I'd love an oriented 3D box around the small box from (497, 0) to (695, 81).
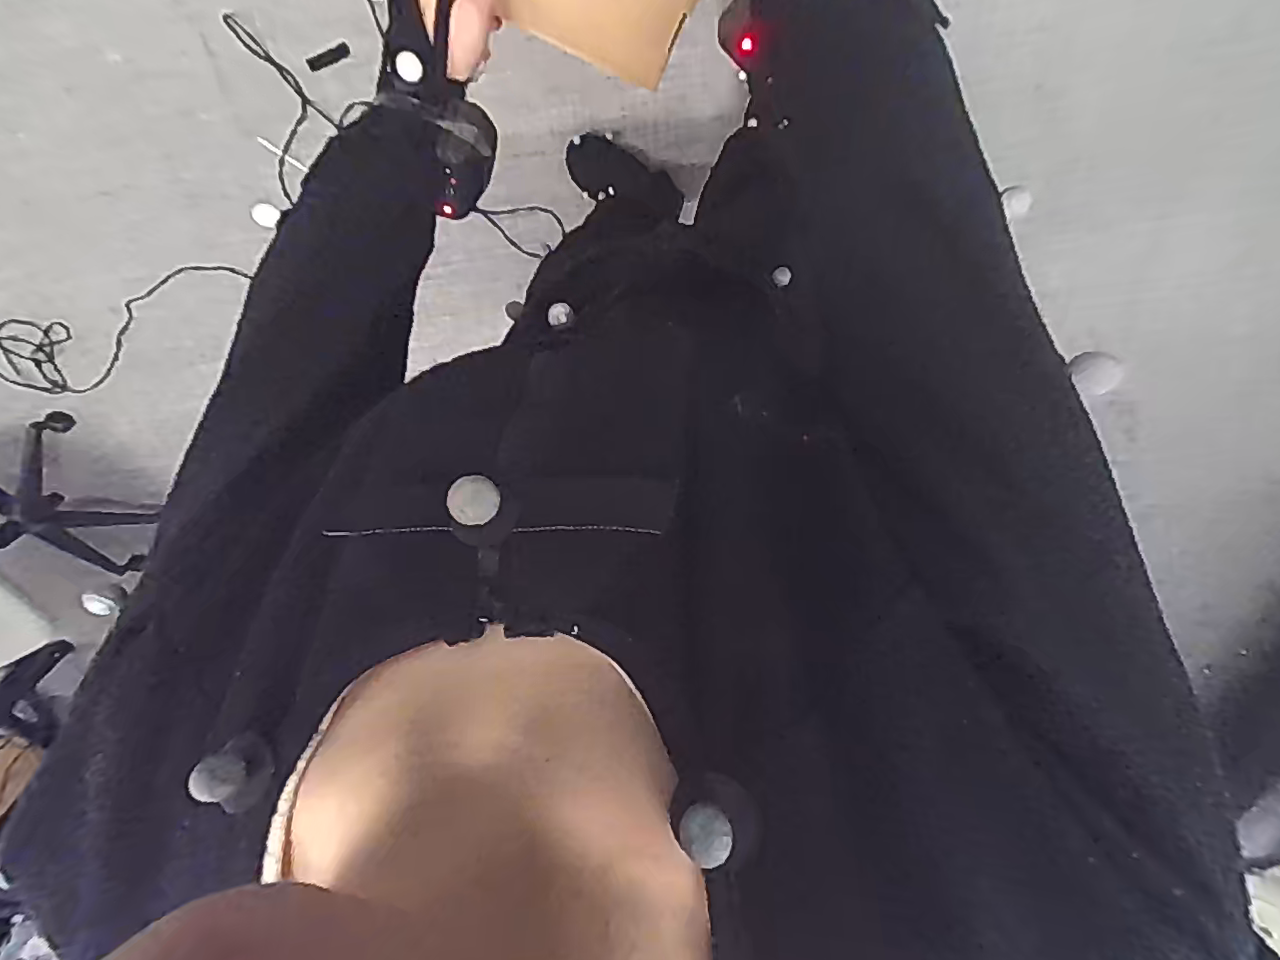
[{"bbox_3d":[-0.027,-0.464,0.408,0.179,0.176,0.168,14,148,-20],"label":"small box"}]
